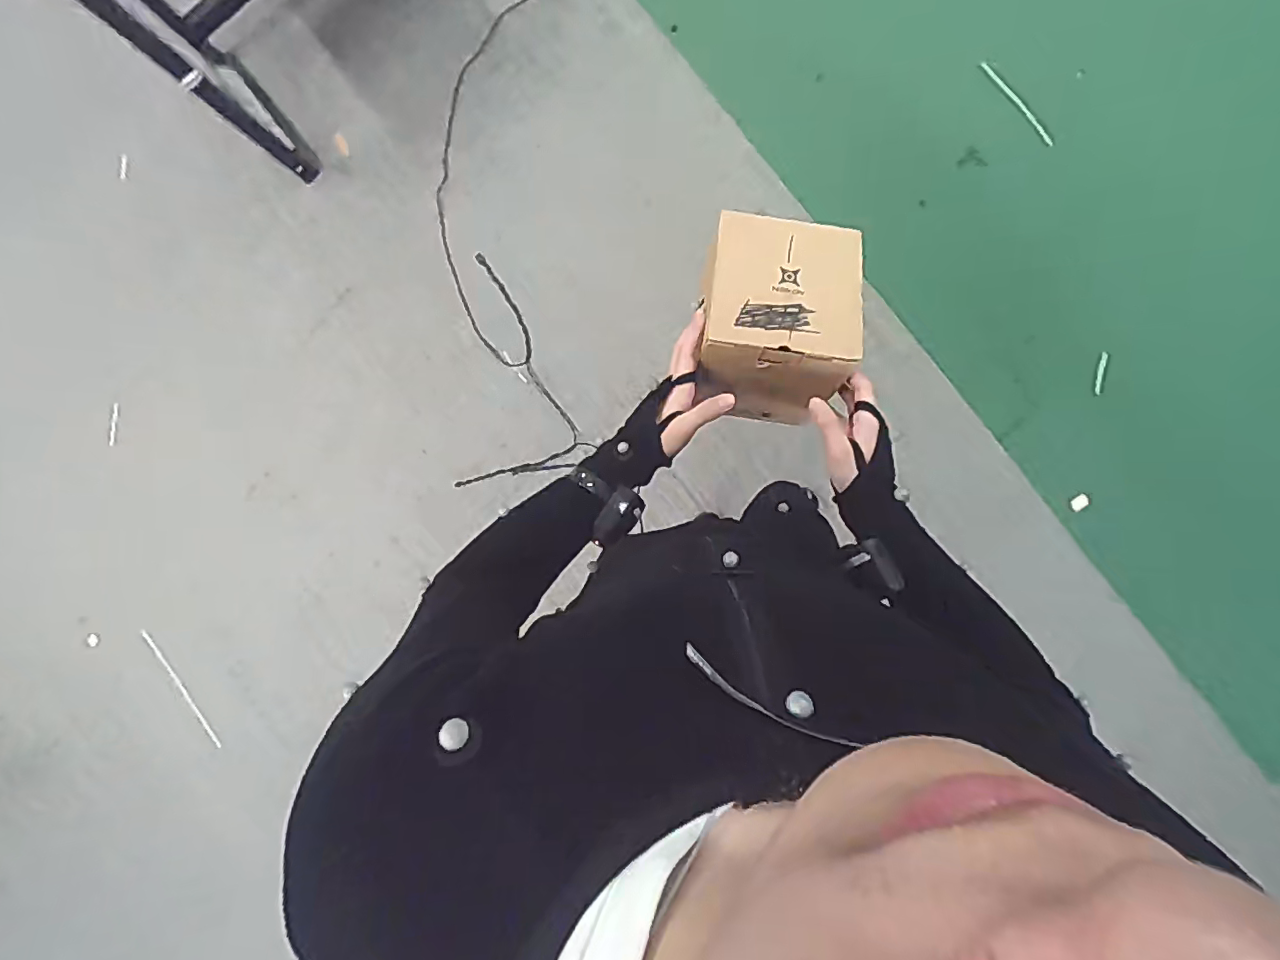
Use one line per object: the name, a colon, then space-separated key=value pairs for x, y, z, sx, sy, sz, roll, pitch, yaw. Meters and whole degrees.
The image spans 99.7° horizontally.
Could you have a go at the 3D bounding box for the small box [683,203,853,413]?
small box: x=0.147 y=-0.199 z=0.663 sx=0.168 sy=0.176 sz=0.179 roll=7 pitch=70 yaw=0
